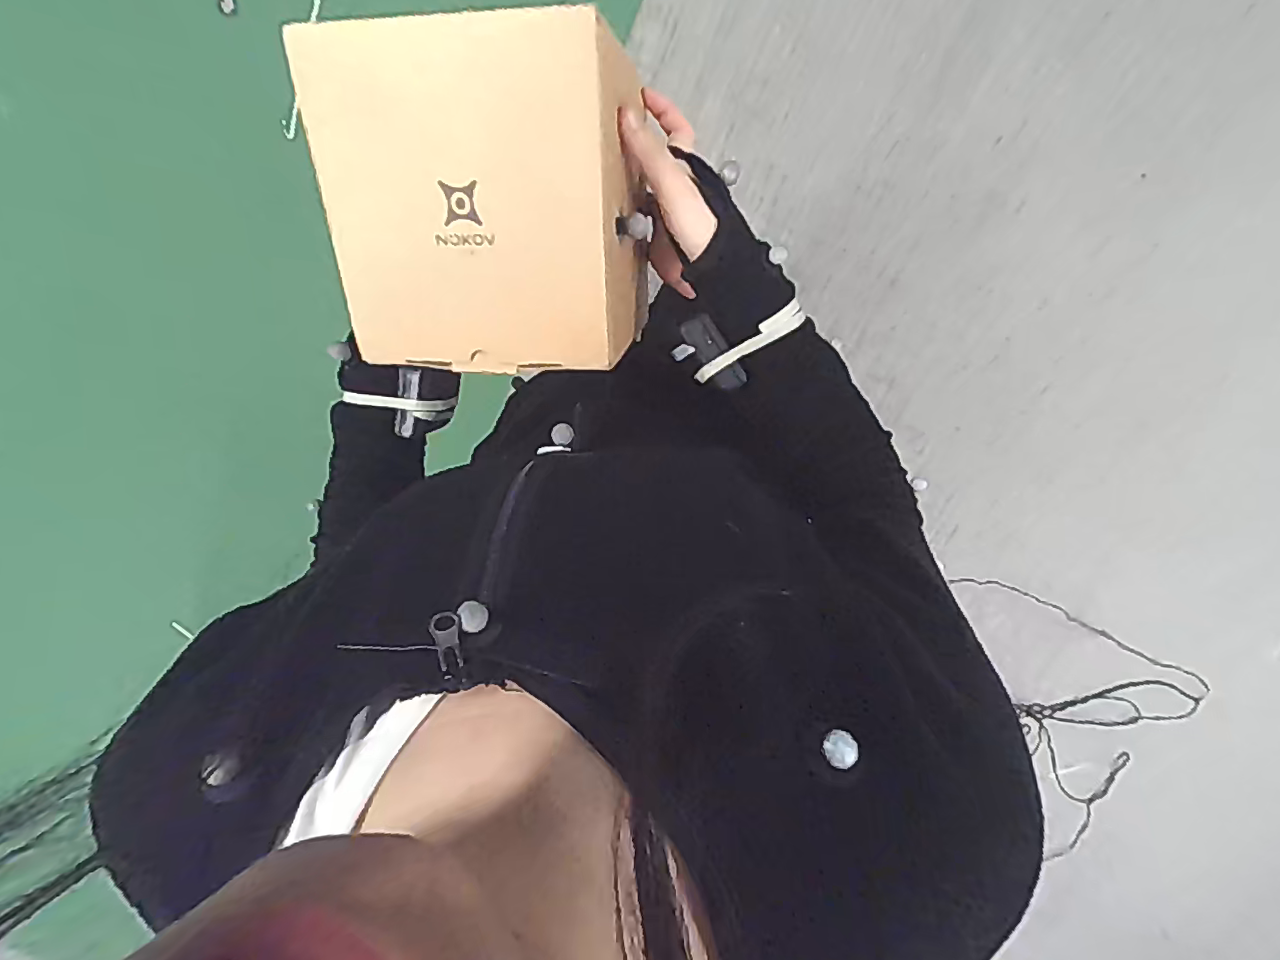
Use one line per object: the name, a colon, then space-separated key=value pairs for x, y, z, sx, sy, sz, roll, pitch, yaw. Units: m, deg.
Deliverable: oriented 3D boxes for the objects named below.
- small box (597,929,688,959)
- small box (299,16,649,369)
small box: x=-0.004 y=1.006 z=1.019 sx=0.168 sy=0.176 sz=0.179 roll=22 pitch=108 yaw=-8
small box: x=-0.087 y=-0.185 z=0.380 sx=0.168 sy=0.176 sz=0.179 roll=3 pitch=117 yaw=8
